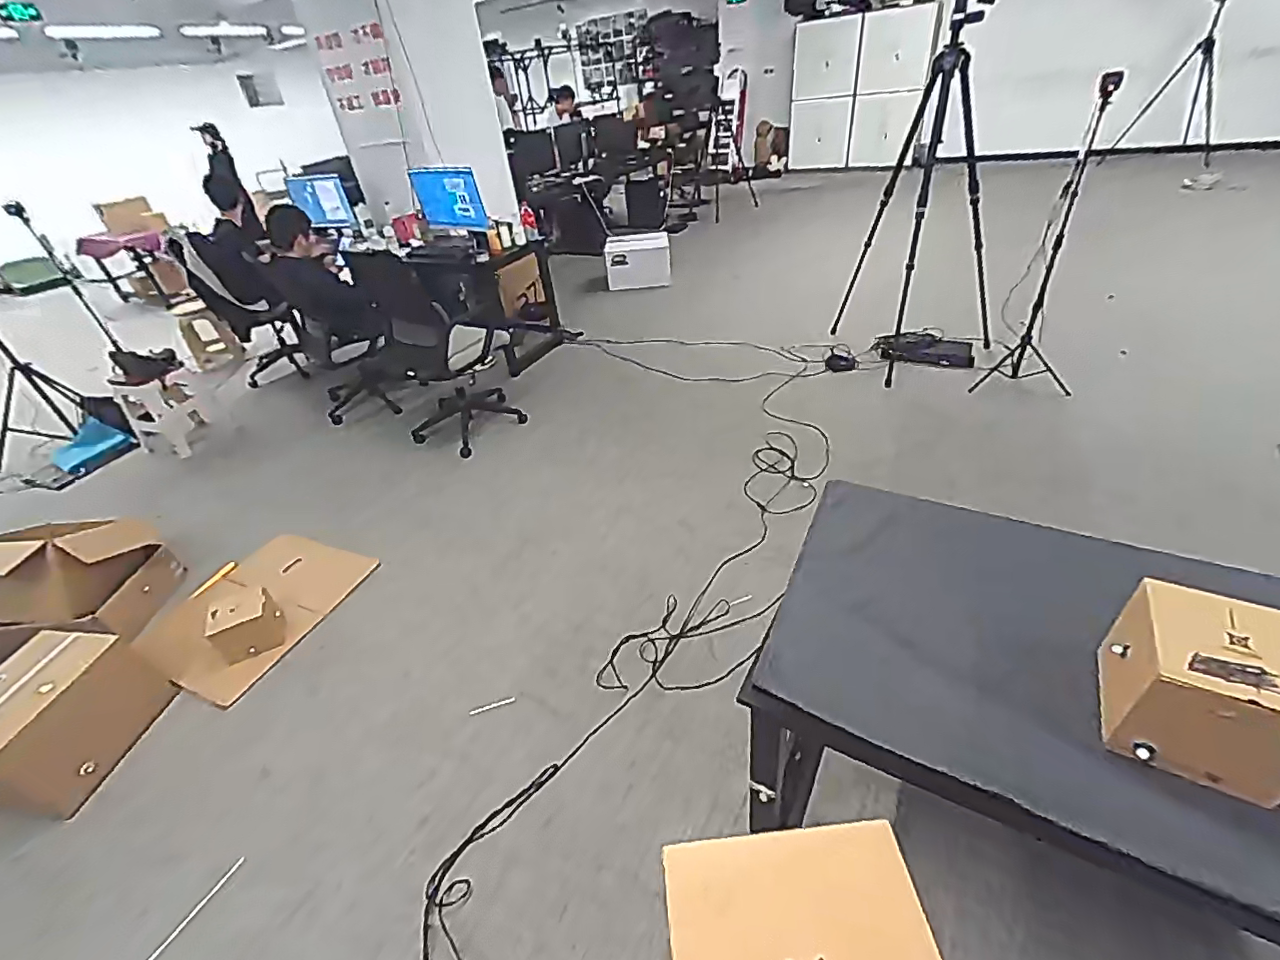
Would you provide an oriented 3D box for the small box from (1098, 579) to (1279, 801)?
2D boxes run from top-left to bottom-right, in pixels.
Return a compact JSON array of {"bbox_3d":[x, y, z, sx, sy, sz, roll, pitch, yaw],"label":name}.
[{"bbox_3d":[0.722,0.265,0.694,0.168,0.176,0.179,15,41,28],"label":"small box"}]

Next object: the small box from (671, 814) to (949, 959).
[{"bbox_3d":[0.112,0.364,0.370,0.168,0.176,0.179,-6,38,1],"label":"small box"}]
